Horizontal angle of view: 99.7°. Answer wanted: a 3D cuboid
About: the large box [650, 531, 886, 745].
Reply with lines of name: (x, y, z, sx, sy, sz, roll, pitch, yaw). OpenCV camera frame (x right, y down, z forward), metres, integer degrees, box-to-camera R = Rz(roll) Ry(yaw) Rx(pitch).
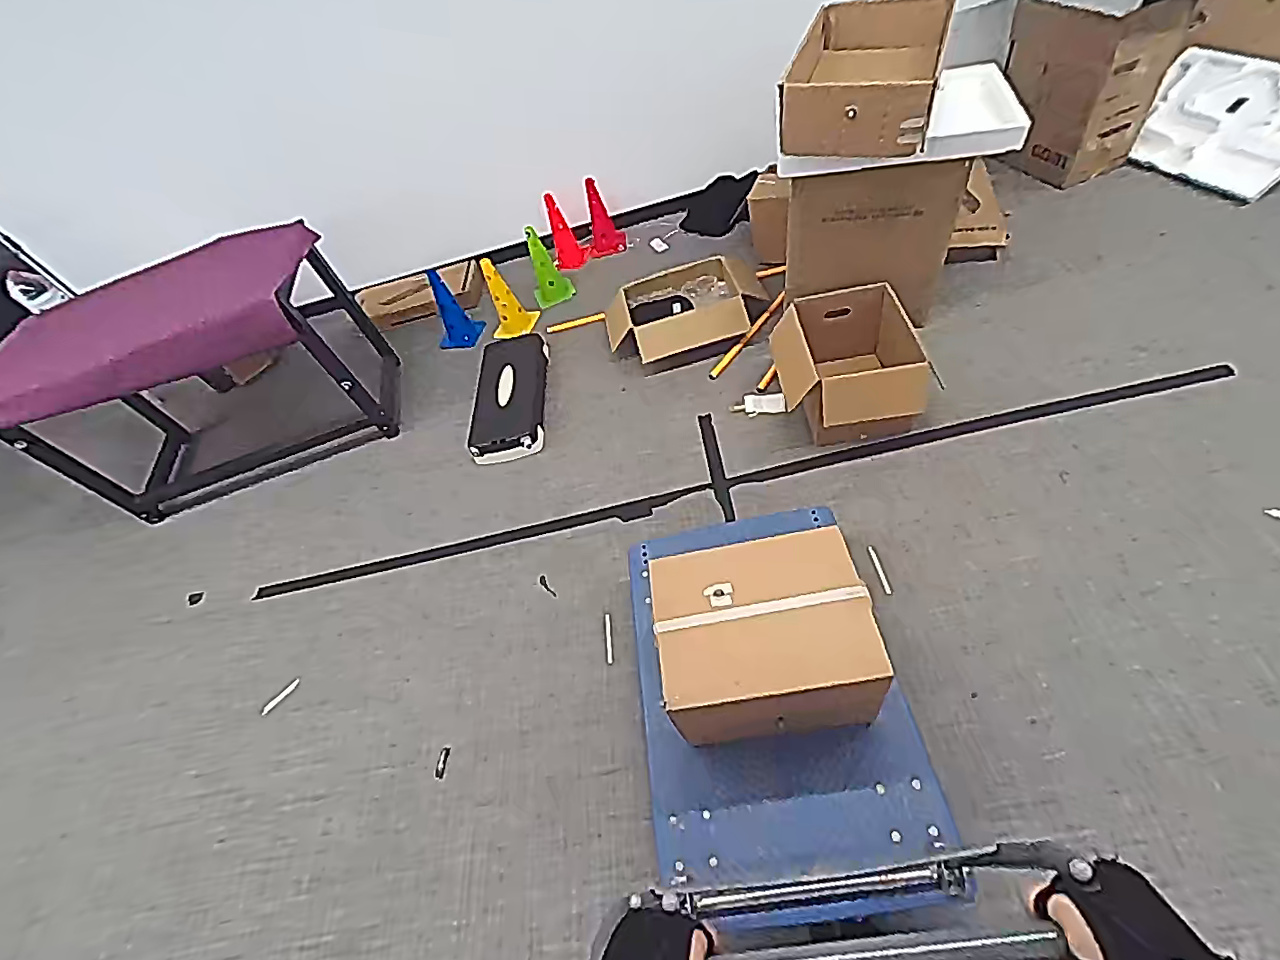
large box: (0.262, 0.354, 1.176, 0.408, 0.320, 0.320, -13, 50, 7)
